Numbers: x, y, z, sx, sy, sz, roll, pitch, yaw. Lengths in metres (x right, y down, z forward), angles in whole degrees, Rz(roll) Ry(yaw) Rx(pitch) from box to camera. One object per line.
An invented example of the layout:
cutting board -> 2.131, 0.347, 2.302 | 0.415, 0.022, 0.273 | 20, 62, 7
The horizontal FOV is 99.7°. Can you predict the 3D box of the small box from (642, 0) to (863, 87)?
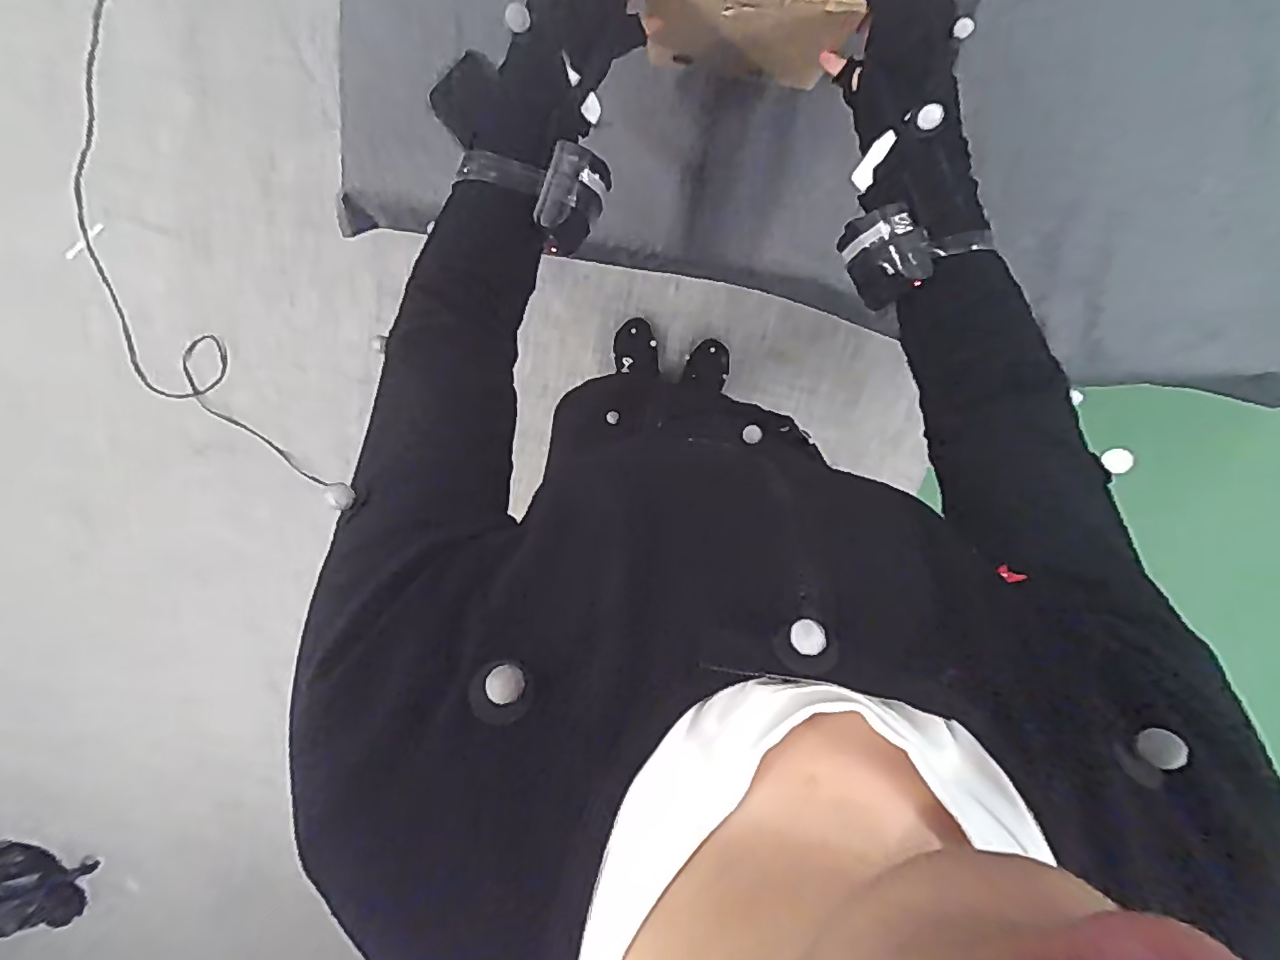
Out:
small box -> 0.096, -0.454, 0.437 | 0.168, 0.176, 0.179 | 8, 109, -1
